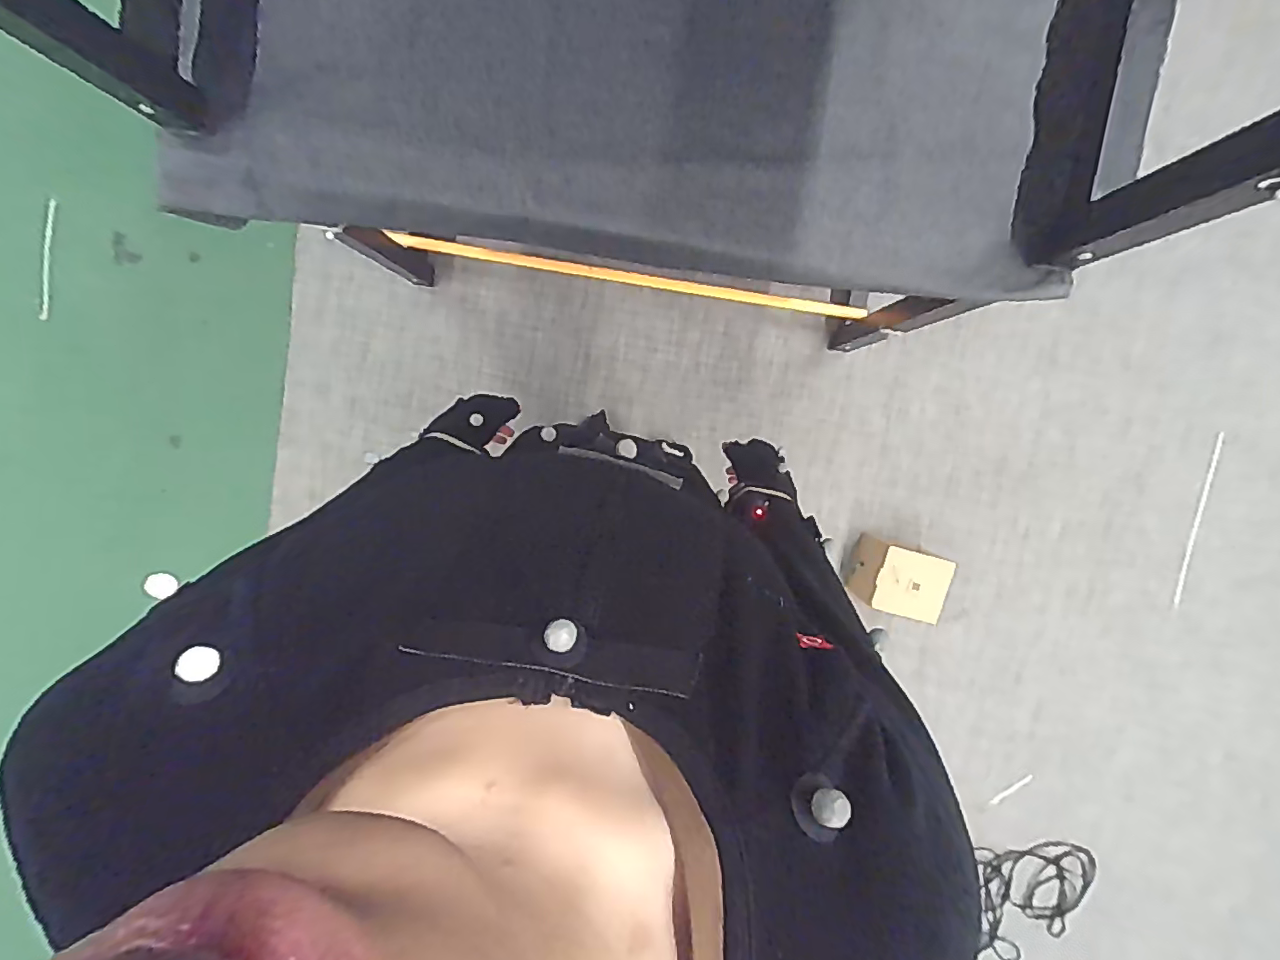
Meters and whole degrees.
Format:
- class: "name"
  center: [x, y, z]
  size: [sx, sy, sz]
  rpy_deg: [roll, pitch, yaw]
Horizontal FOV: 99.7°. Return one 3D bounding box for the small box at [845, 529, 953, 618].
- class: "small box"
  center: [0.673, 0.238, 1.425]
  size: [0.179, 0.176, 0.168]
  rpy_deg: [15, 96, 0]
